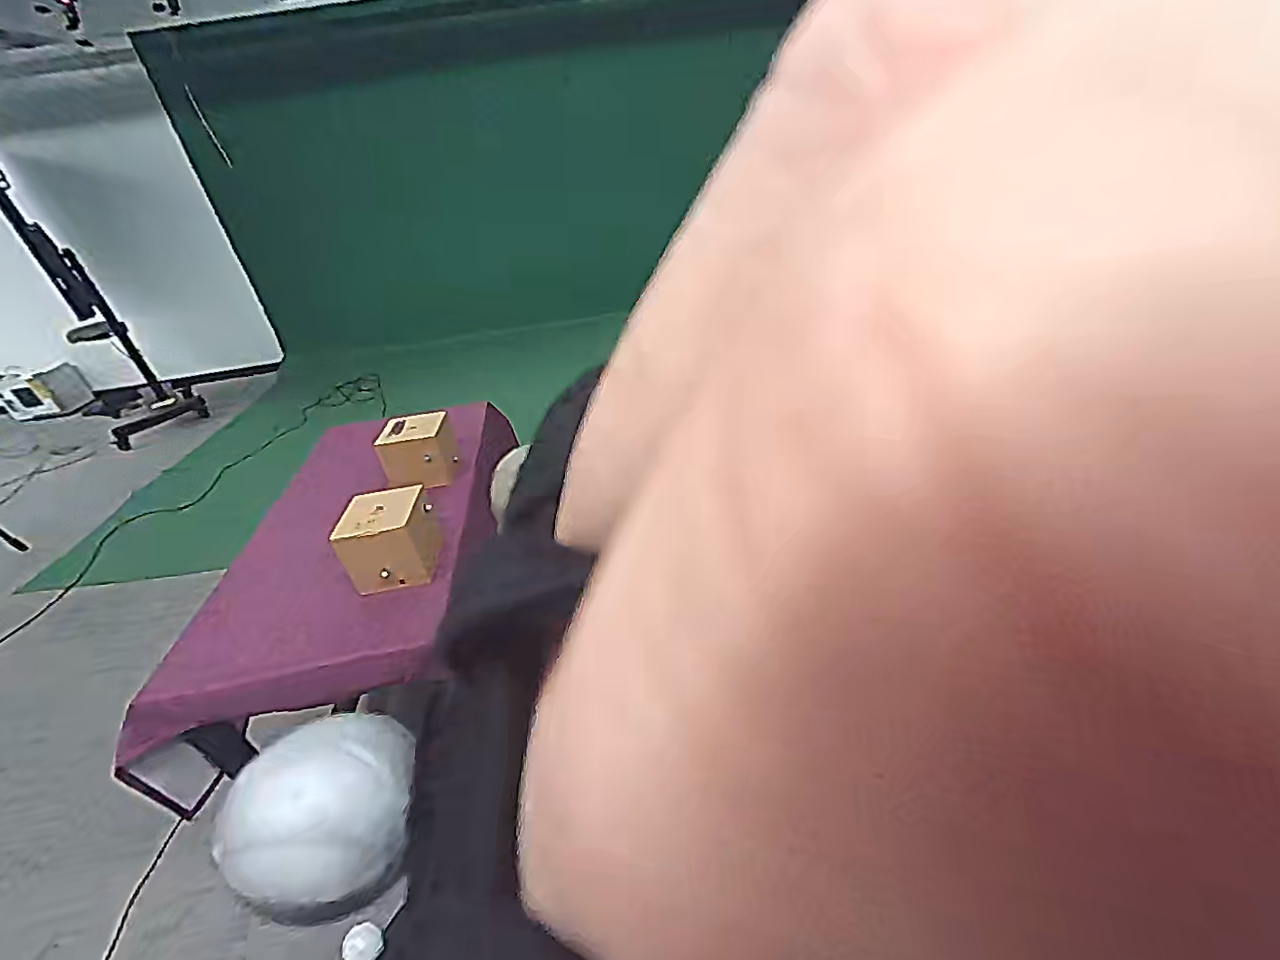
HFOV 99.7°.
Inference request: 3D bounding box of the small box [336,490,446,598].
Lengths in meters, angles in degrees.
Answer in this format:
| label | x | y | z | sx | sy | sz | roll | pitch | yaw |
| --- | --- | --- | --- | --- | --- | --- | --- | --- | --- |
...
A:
| label | x | y | z | sx | sy | sz | roll | pitch | yaw |
| --- | --- | --- | --- | --- | --- | --- | --- | --- | --- |
| small box | -0.575 | 0.150 | 1.282 | 0.168 | 0.176 | 0.179 | -11 | 32 | -1 |
